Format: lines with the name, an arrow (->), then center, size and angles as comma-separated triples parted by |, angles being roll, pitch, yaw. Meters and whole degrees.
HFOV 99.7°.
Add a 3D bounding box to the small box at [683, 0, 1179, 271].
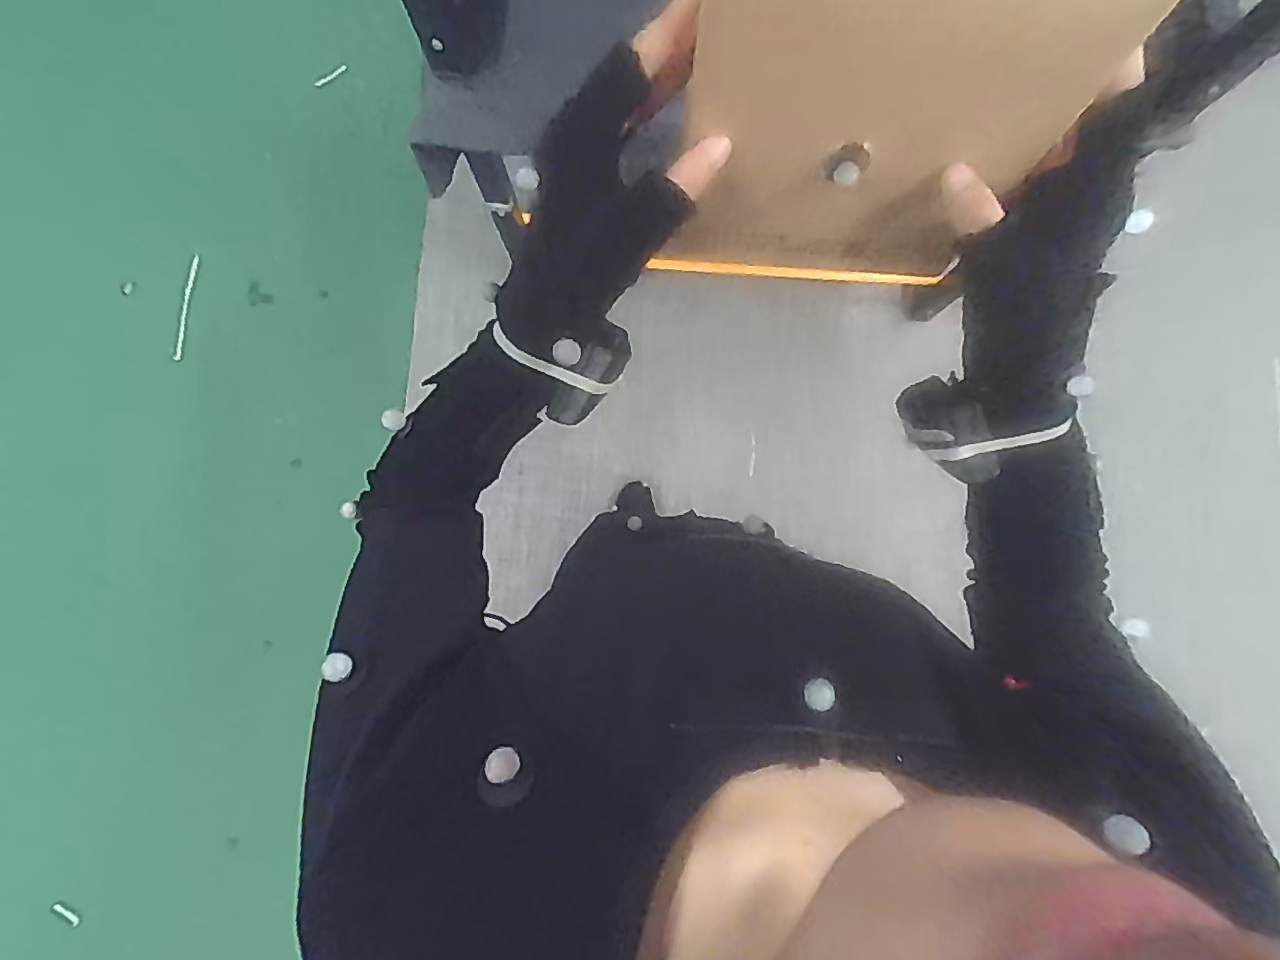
small box -> 0.115, -0.233, 0.278 | 0.168, 0.176, 0.179 | 5, 75, 0
